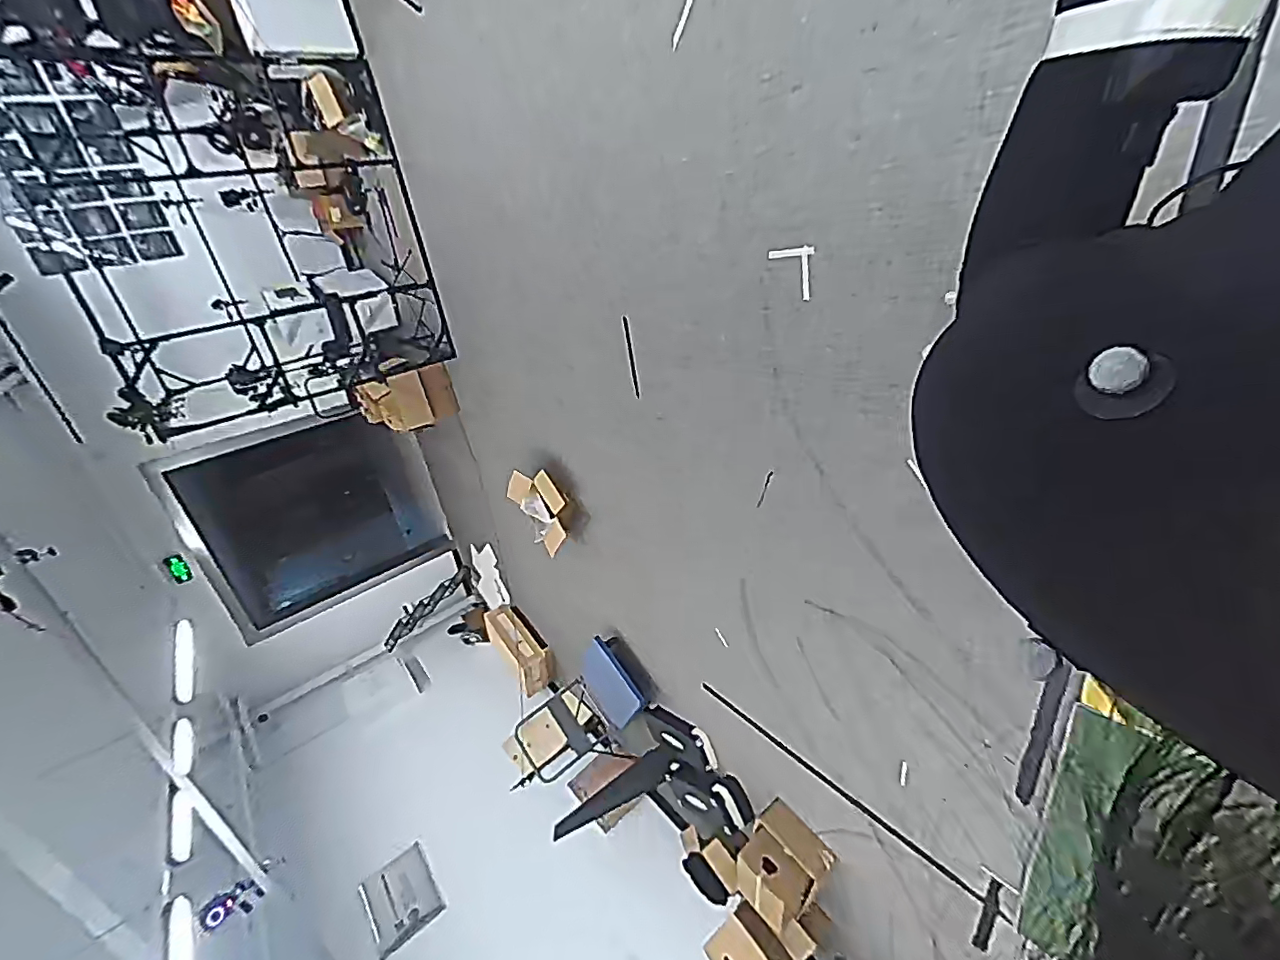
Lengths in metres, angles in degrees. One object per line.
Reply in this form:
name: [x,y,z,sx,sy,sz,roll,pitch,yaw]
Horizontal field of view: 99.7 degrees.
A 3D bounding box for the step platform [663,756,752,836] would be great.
step platform: [0.429,2.111,3.636,0.684,0.204,0.286,-24,92,58]
